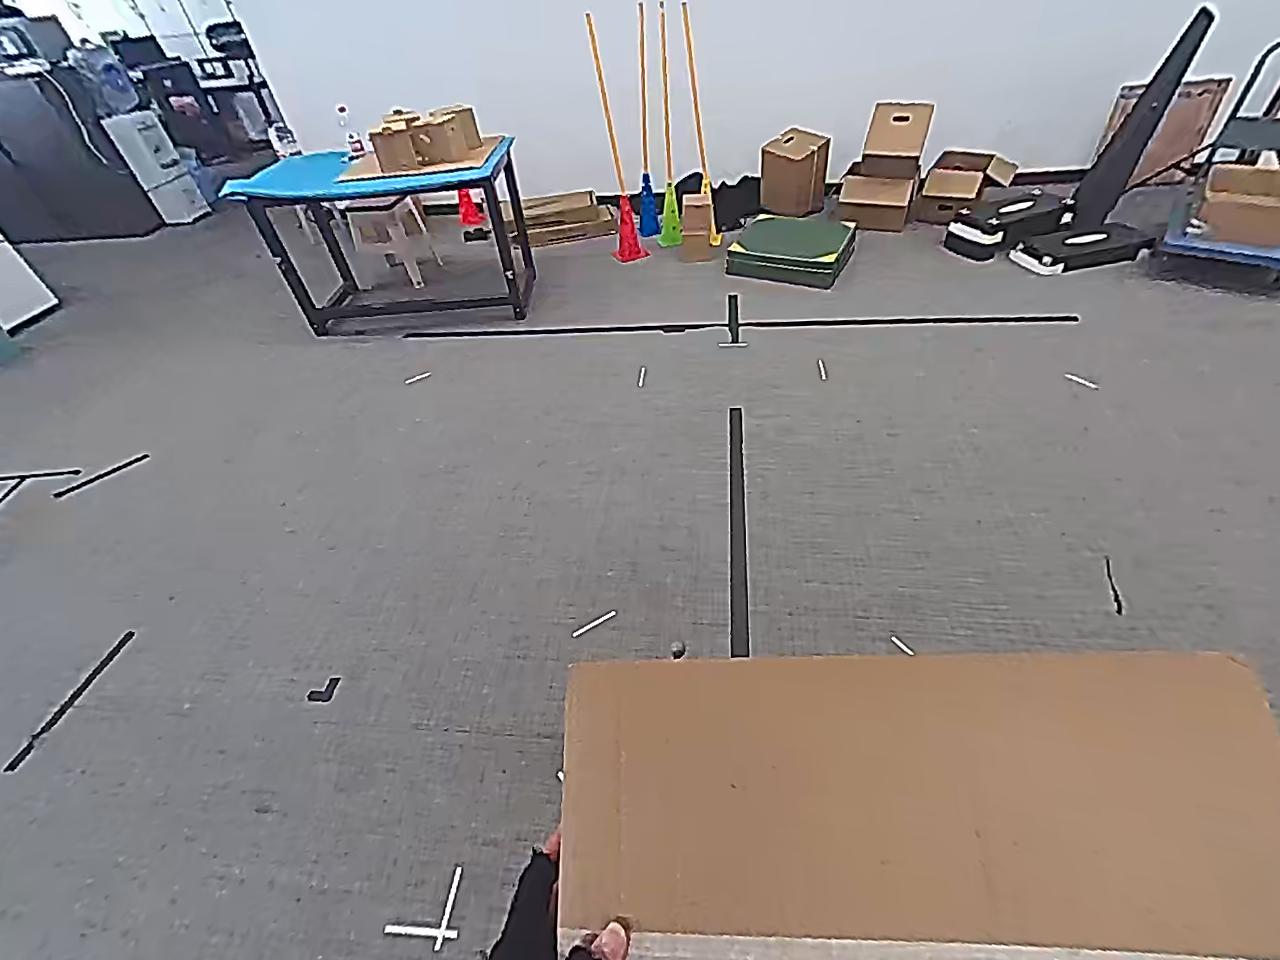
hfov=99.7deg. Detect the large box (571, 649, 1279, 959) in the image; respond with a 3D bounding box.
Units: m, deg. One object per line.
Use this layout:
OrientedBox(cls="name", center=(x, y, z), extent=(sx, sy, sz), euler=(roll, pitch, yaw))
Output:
OrientedBox(cls="large box", center=(0.176, 0.315, 0.437), extent=(0.408, 0.320, 0.320), euler=(-4, 70, 8))
